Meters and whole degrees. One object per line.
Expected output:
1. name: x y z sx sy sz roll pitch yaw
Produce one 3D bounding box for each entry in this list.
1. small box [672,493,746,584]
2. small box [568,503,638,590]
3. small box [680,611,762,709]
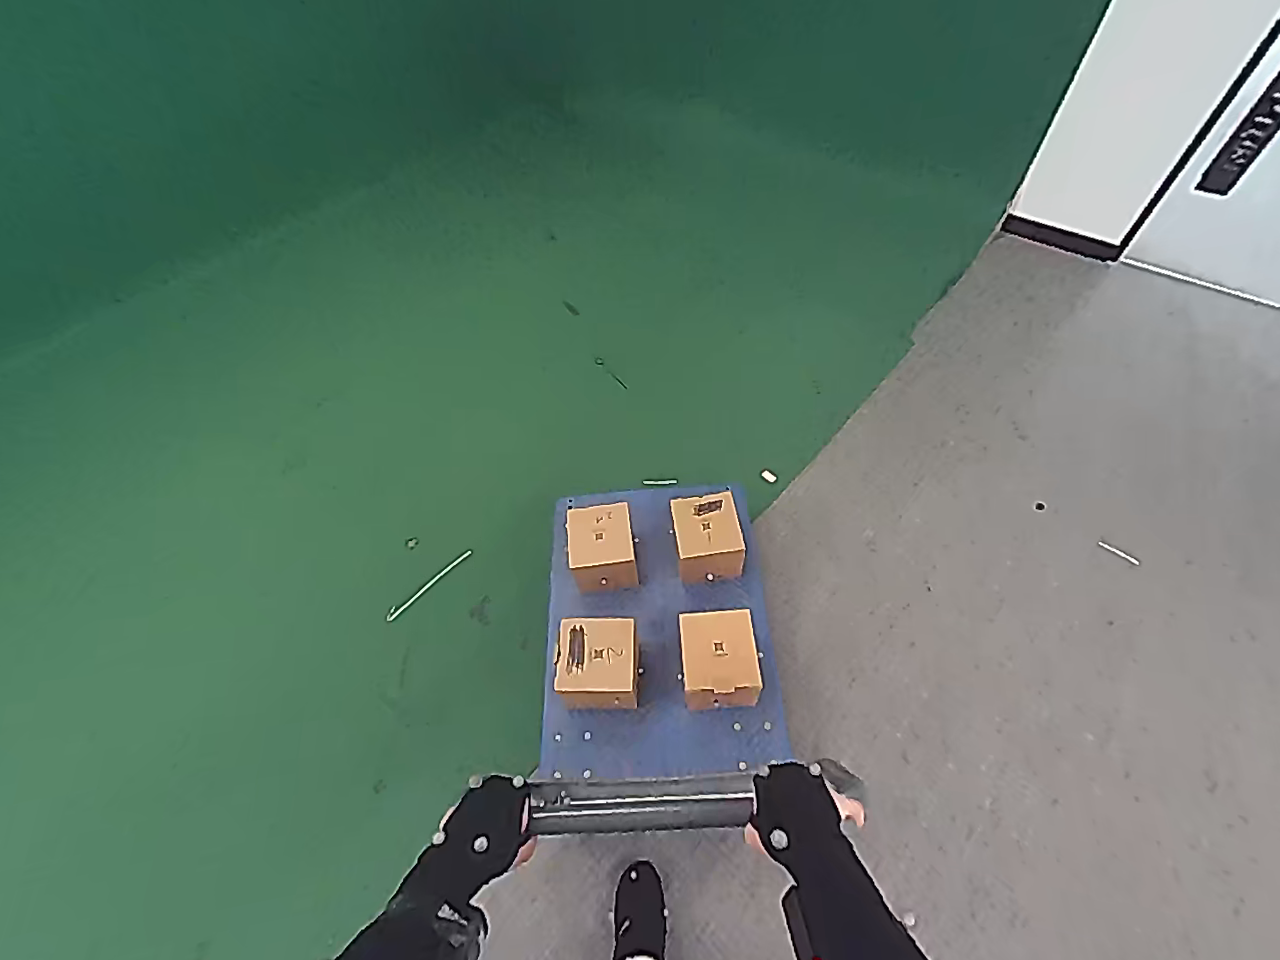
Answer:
1. small box: 0.177 0.159 1.443 0.168 0.176 0.179 -8 56 0
2. small box: -0.098 0.184 1.449 0.168 0.176 0.179 -7 55 -1
3. small box: 0.181 0.422 1.264 0.168 0.176 0.179 -4 56 2
